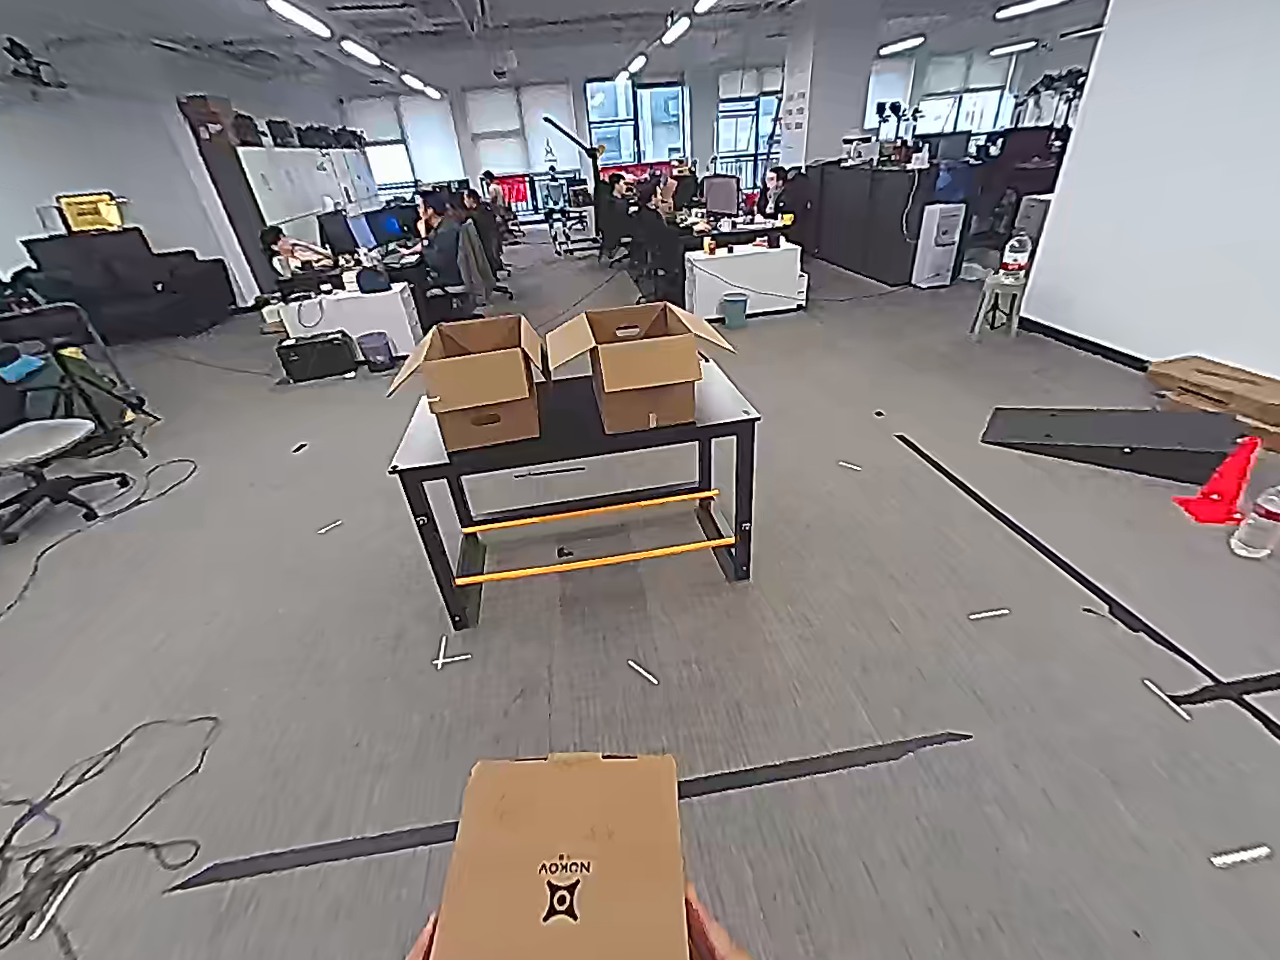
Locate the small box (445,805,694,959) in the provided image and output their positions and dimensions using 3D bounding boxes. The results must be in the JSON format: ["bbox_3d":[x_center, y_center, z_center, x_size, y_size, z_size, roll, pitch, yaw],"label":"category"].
[{"bbox_3d":[-0.045,0.373,0.403,0.168,0.176,0.179,-1,36,1],"label":"small box"}]
